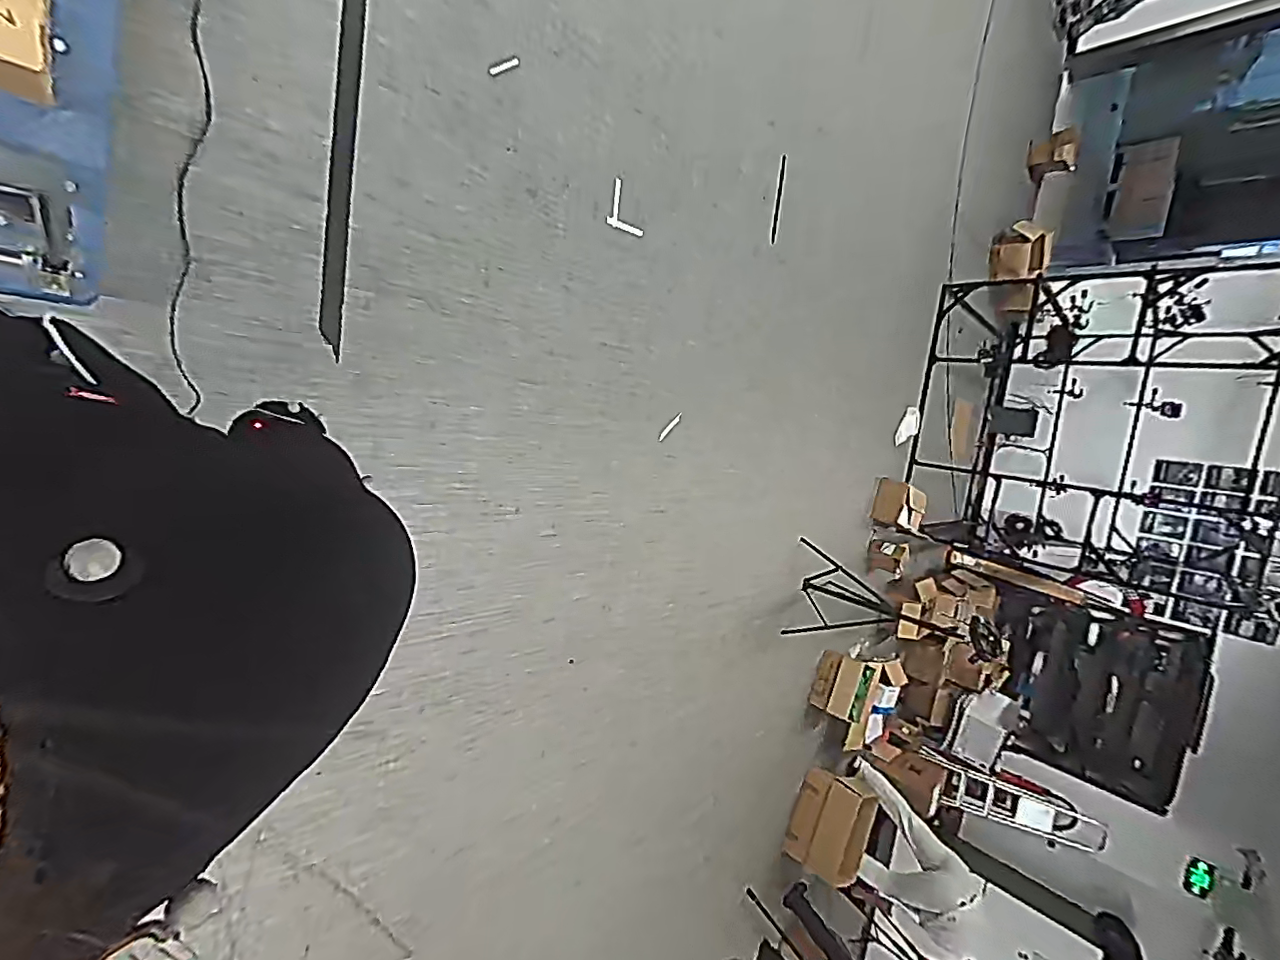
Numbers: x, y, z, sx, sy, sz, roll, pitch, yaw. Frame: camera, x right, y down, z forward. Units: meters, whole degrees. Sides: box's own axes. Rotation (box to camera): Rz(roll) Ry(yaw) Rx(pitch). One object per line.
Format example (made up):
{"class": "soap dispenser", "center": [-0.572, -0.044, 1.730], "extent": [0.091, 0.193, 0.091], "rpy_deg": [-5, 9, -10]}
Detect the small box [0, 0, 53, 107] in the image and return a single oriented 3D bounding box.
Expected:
{"class": "small box", "center": [-0.917, -0.639, 0.721], "extent": [0.179, 0.176, 0.168], "rpy_deg": [0, 100, -46]}
